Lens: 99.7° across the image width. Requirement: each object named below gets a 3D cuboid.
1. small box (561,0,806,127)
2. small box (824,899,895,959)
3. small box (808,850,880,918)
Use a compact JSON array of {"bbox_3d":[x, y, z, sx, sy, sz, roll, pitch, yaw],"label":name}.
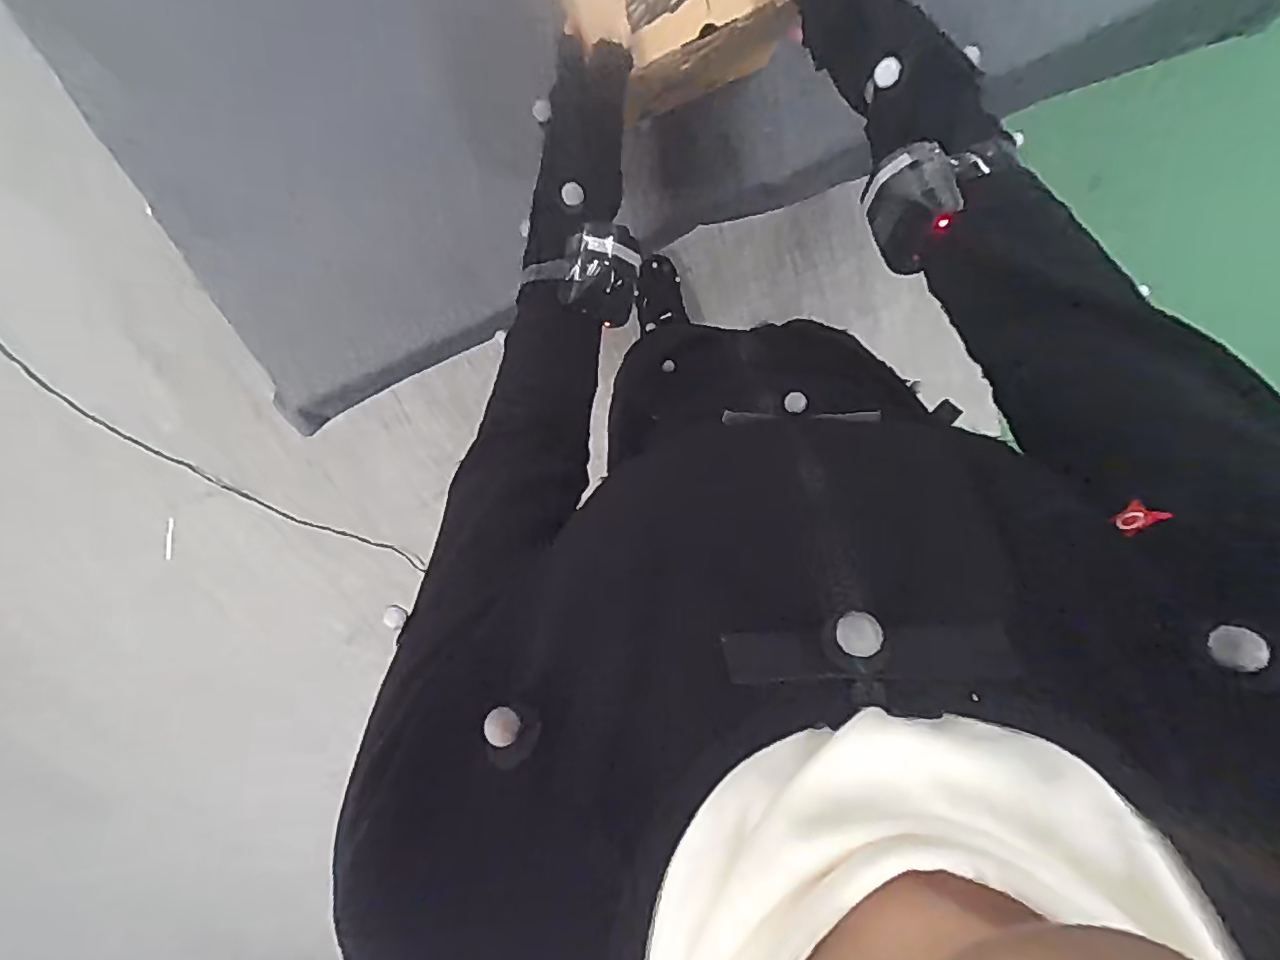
[{"bbox_3d":[0.016,-0.422,0.444,0.168,0.176,0.179,-21,110,7],"label":"small box"},{"bbox_3d":[0.733,1.548,1.799,0.179,0.176,0.168,-26,111,9],"label":"small box"},{"bbox_3d":[0.739,1.493,1.972,0.179,0.176,0.168,-25,112,8],"label":"small box"}]
